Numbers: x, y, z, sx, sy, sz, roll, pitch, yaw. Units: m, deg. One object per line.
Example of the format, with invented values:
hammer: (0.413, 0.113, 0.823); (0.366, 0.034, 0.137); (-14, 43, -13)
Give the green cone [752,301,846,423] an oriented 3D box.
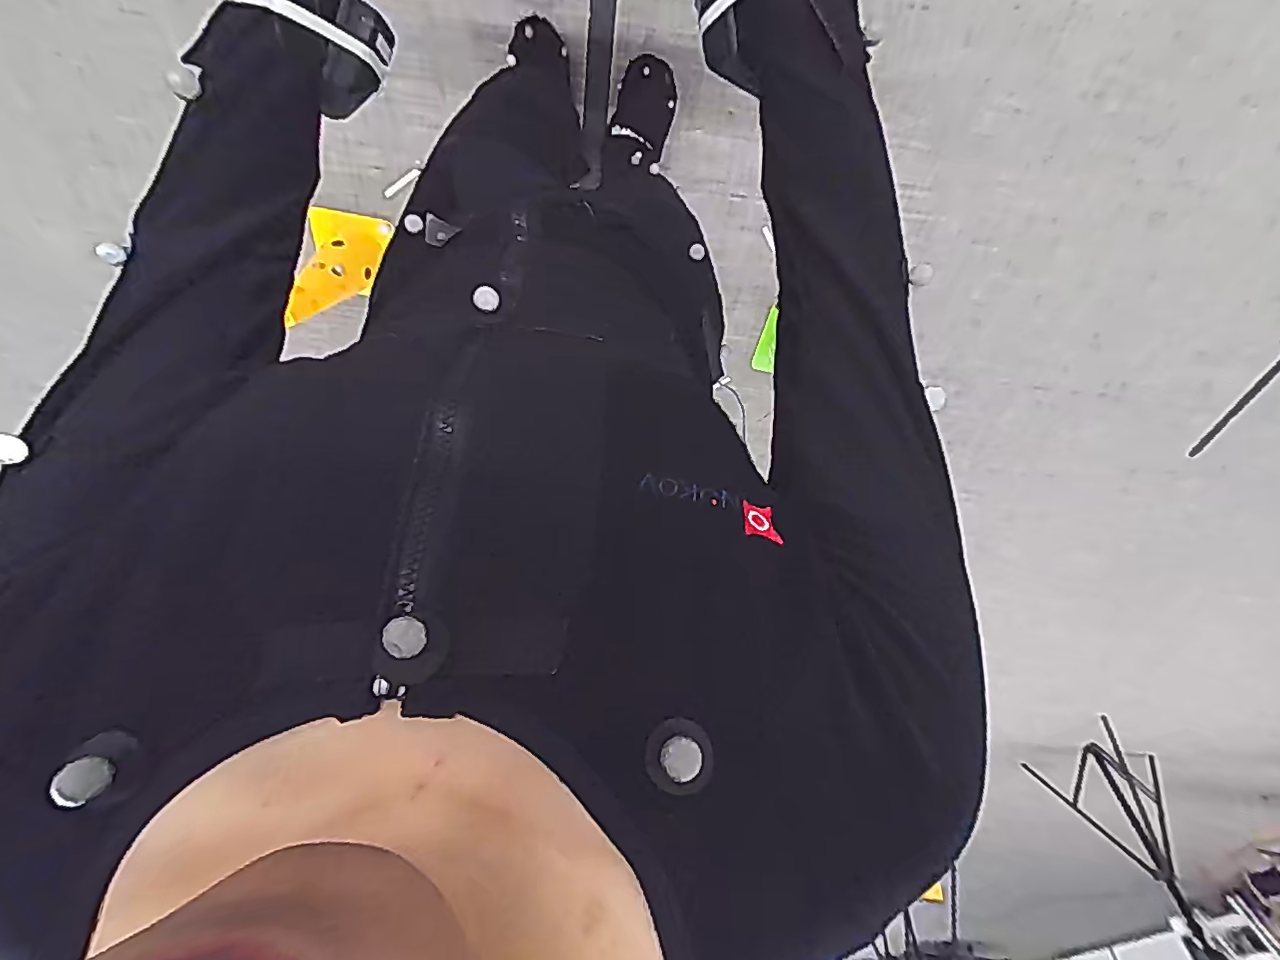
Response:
green cone: (0.413, -0.253, 1.302); (0.202, 0.368, 0.200); (9, 131, -6)
